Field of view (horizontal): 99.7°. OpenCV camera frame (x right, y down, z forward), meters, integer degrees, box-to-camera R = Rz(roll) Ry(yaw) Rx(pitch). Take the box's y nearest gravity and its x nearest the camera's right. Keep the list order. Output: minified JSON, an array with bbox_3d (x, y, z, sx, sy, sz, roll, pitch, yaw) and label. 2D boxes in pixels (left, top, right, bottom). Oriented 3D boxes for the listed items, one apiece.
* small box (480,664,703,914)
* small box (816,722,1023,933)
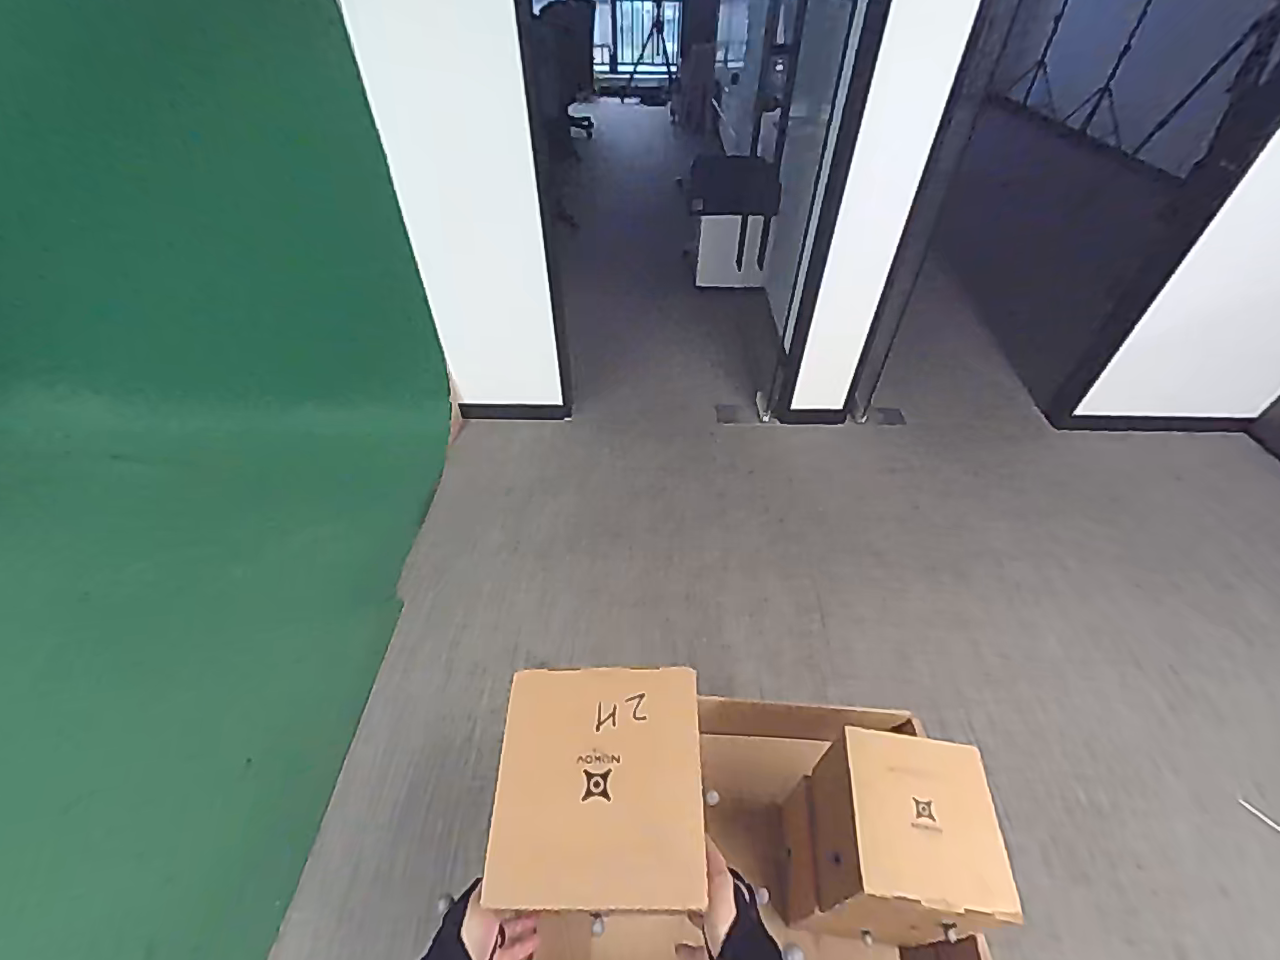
[{"bbox_3d":[-0.028,0.285,0.497,0.168,0.176,0.179,-1,50,3],"label":"small box"},{"bbox_3d":[0.325,0.434,0.674,0.168,0.176,0.179,8,45,6],"label":"small box"}]
